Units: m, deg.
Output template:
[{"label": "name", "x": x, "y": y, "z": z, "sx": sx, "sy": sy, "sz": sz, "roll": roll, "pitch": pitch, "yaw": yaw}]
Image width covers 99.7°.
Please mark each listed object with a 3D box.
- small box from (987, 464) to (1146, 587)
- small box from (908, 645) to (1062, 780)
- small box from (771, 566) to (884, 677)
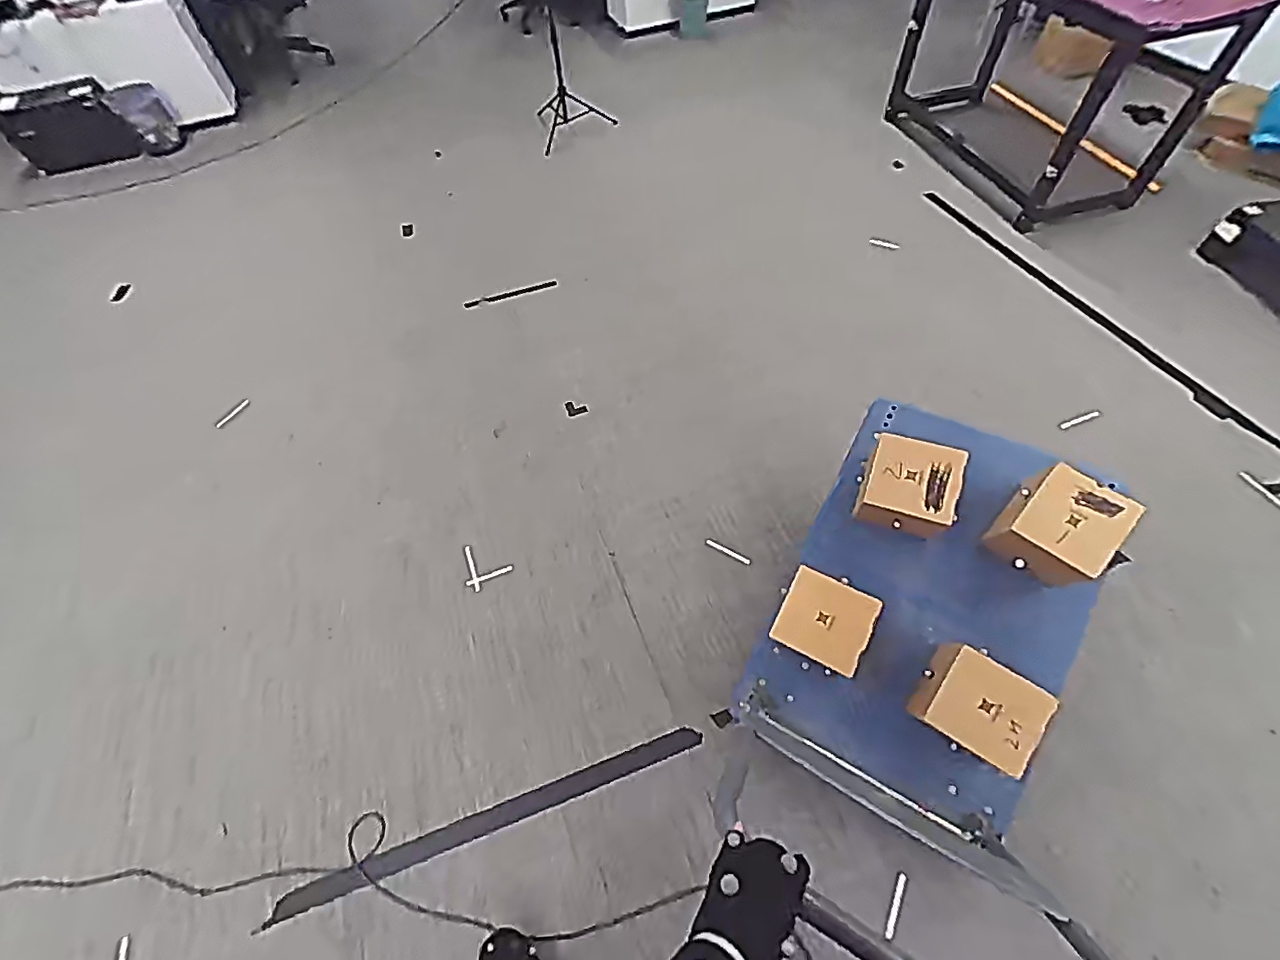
[{"label": "small box", "x": 0.861, "y": 0.100, "z": 1.116, "sx": 0.168, "sy": 0.176, "sz": 0.179, "roll": 37, "pitch": 86, "yaw": 21}, {"label": "small box", "x": 0.659, "y": 0.444, "z": 1.058, "sx": 0.179, "sy": 0.176, "sz": 0.168, "roll": 31, "pitch": 83, "yaw": 20}, {"label": "small box", "x": 0.393, "y": 0.306, "z": 1.165, "sx": 0.179, "sy": 0.176, "sz": 0.168, "roll": 24, "pitch": 80, "yaw": 17}]
